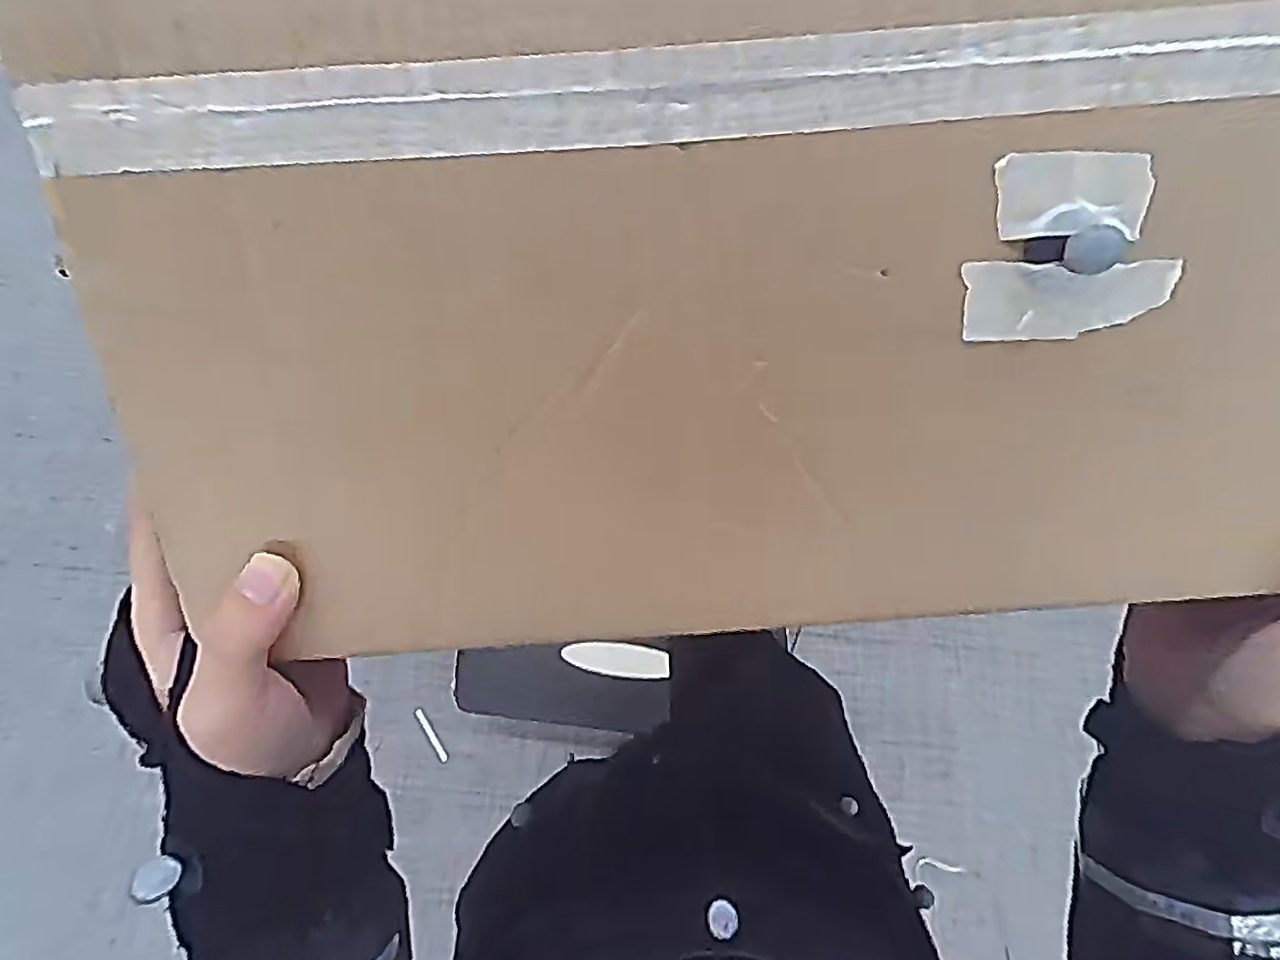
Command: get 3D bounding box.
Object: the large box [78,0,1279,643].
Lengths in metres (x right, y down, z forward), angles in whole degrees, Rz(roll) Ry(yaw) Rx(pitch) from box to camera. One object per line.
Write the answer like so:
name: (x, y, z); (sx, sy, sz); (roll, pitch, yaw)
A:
large box: (0.042, -0.143, 0.301); (0.408, 0.320, 0.320); (-5, 105, -1)
